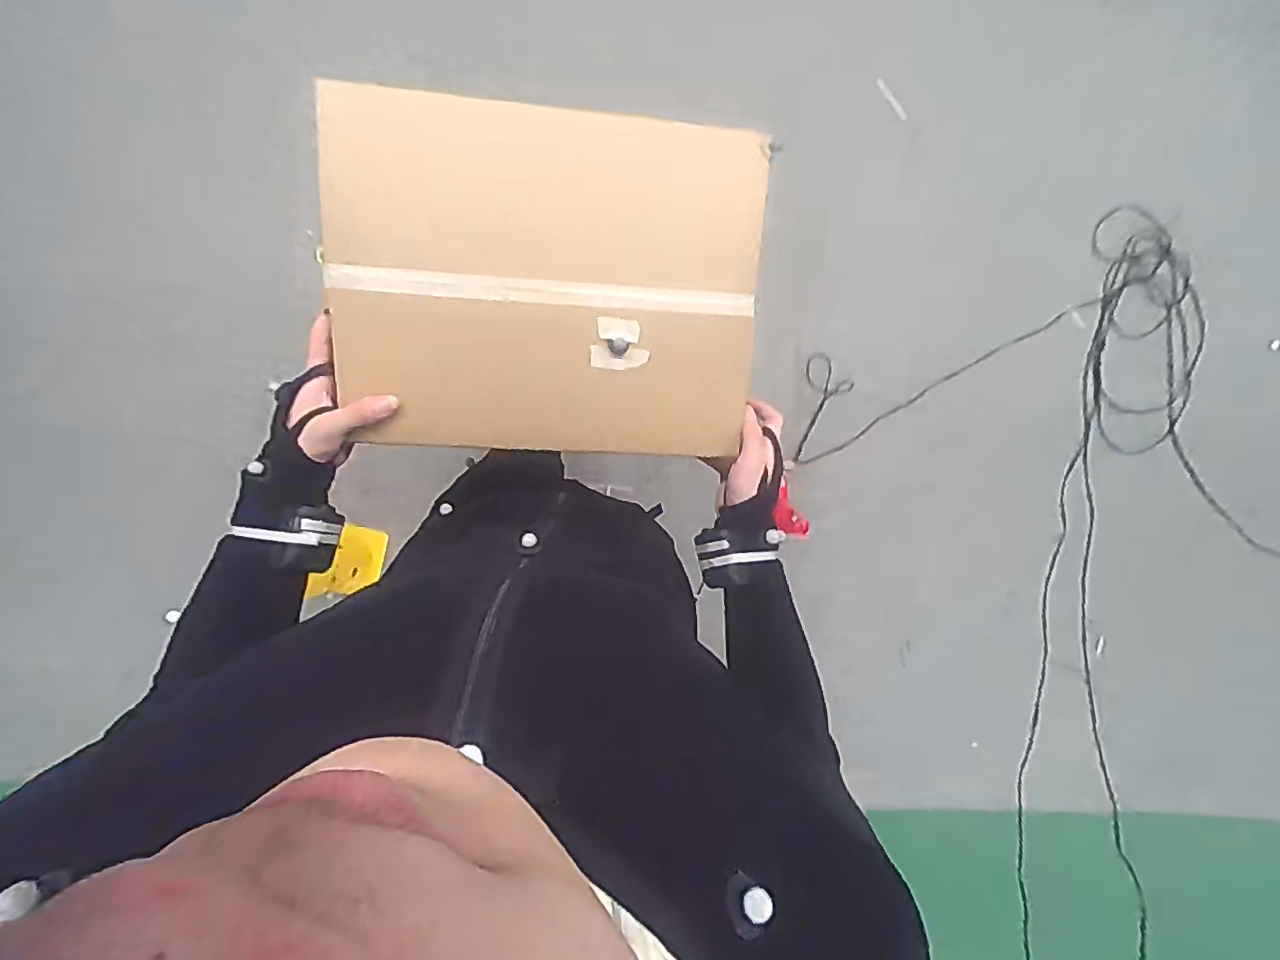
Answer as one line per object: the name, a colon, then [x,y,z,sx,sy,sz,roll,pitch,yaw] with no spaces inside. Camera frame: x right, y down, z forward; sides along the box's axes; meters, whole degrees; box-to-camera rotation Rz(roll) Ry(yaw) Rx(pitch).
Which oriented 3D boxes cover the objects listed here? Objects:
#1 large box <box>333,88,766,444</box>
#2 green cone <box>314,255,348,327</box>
large box: [-0.100,-0.225,0.674,0.408,0.320,0.320,2,104,-8]
green cone: [-0.691,-0.482,1.319,0.200,0.368,0.202,11,95,-7]
